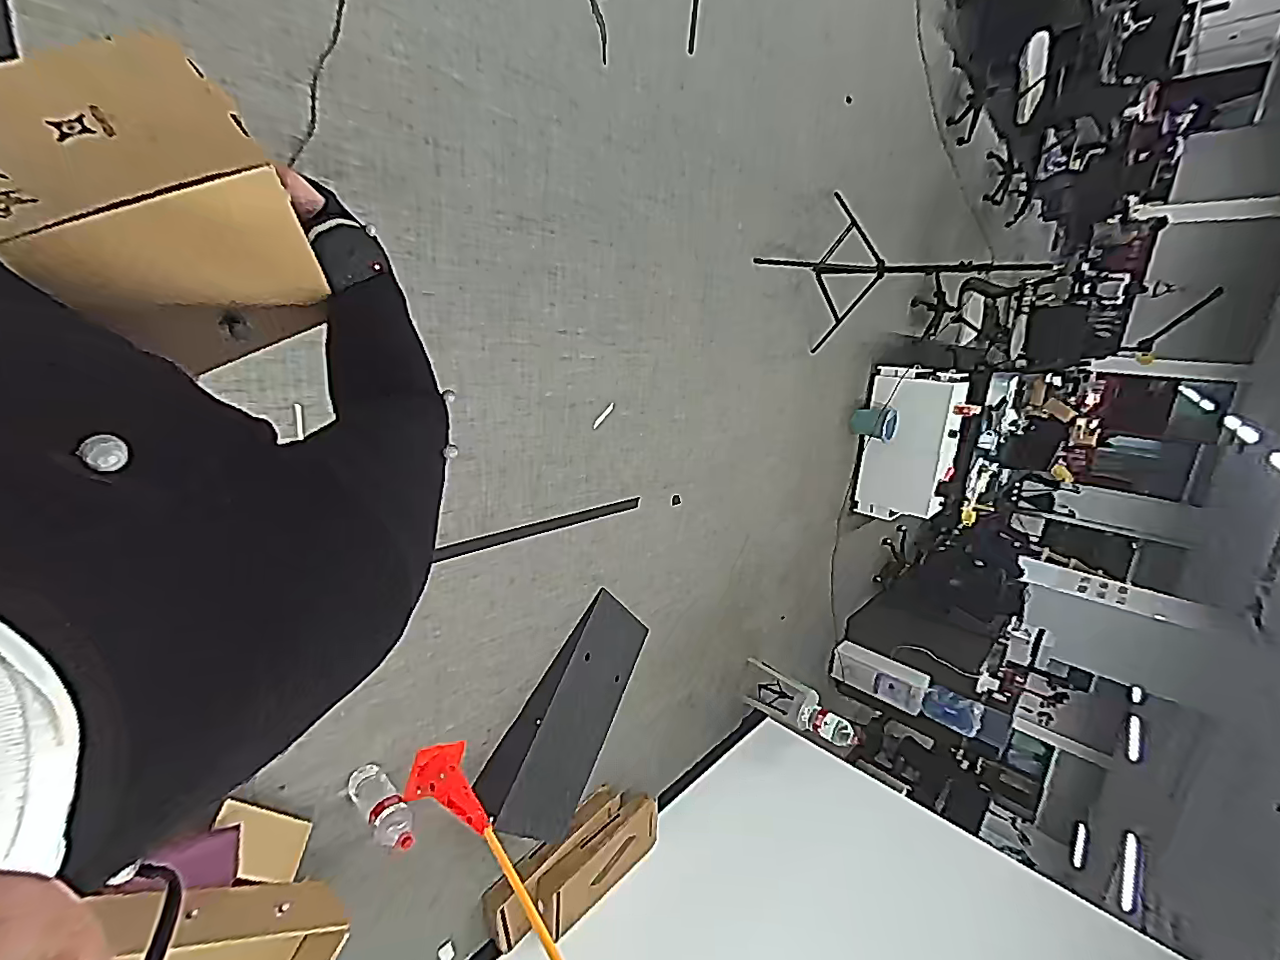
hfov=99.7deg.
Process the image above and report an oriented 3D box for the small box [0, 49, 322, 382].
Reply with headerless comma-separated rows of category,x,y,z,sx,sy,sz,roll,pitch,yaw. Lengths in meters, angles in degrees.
small box,-0.410,-0.220,0.470,0.179,0.168,0.176,-35,166,-23
